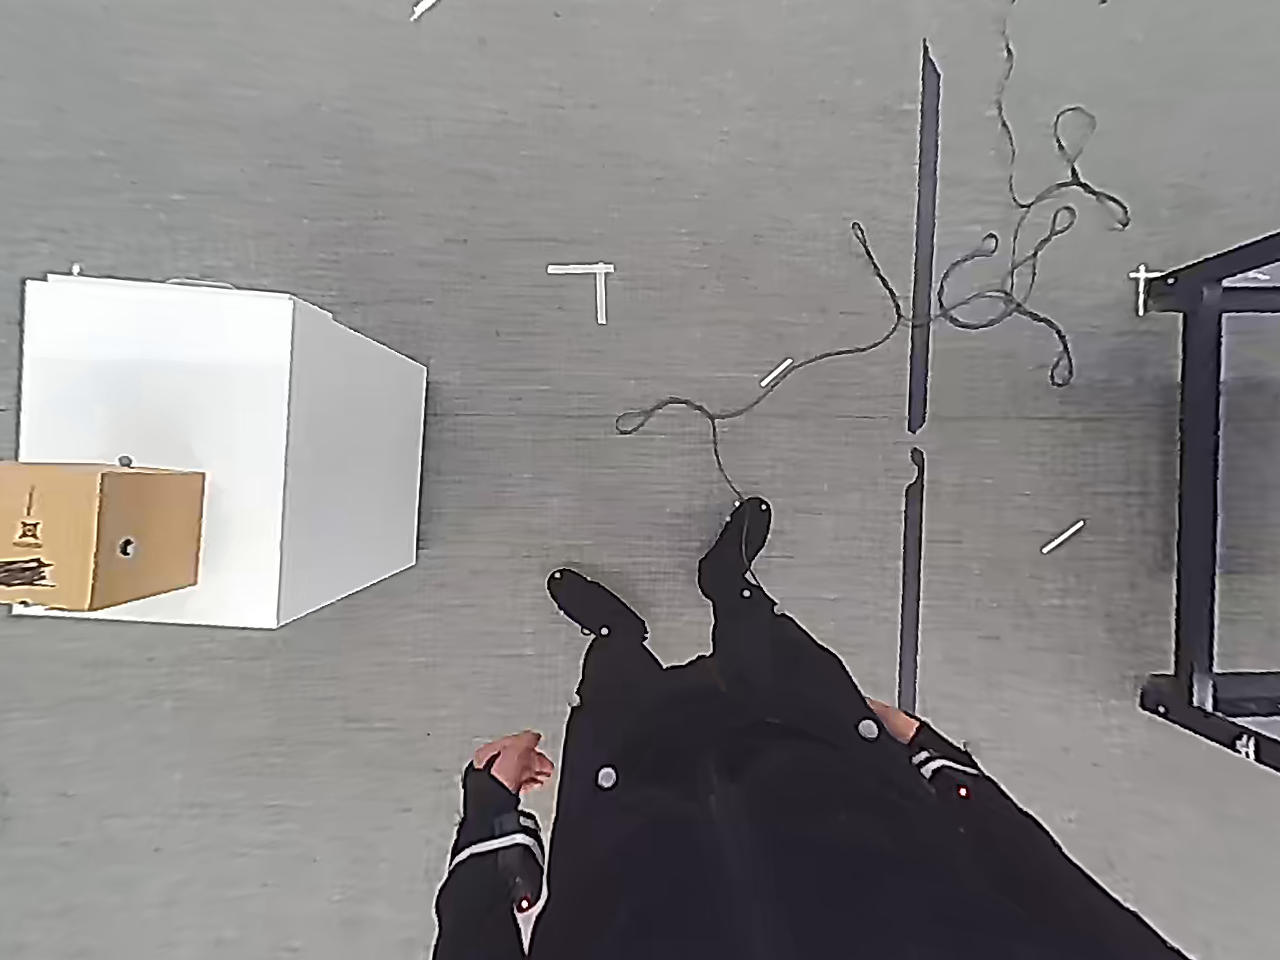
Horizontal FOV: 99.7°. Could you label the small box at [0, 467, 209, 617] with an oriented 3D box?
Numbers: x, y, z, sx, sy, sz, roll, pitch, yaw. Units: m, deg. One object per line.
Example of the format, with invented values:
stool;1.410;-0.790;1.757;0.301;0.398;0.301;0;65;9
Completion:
small box;-0.743;0.076;0.748;0.168;0.176;0.179;5;90;-2
